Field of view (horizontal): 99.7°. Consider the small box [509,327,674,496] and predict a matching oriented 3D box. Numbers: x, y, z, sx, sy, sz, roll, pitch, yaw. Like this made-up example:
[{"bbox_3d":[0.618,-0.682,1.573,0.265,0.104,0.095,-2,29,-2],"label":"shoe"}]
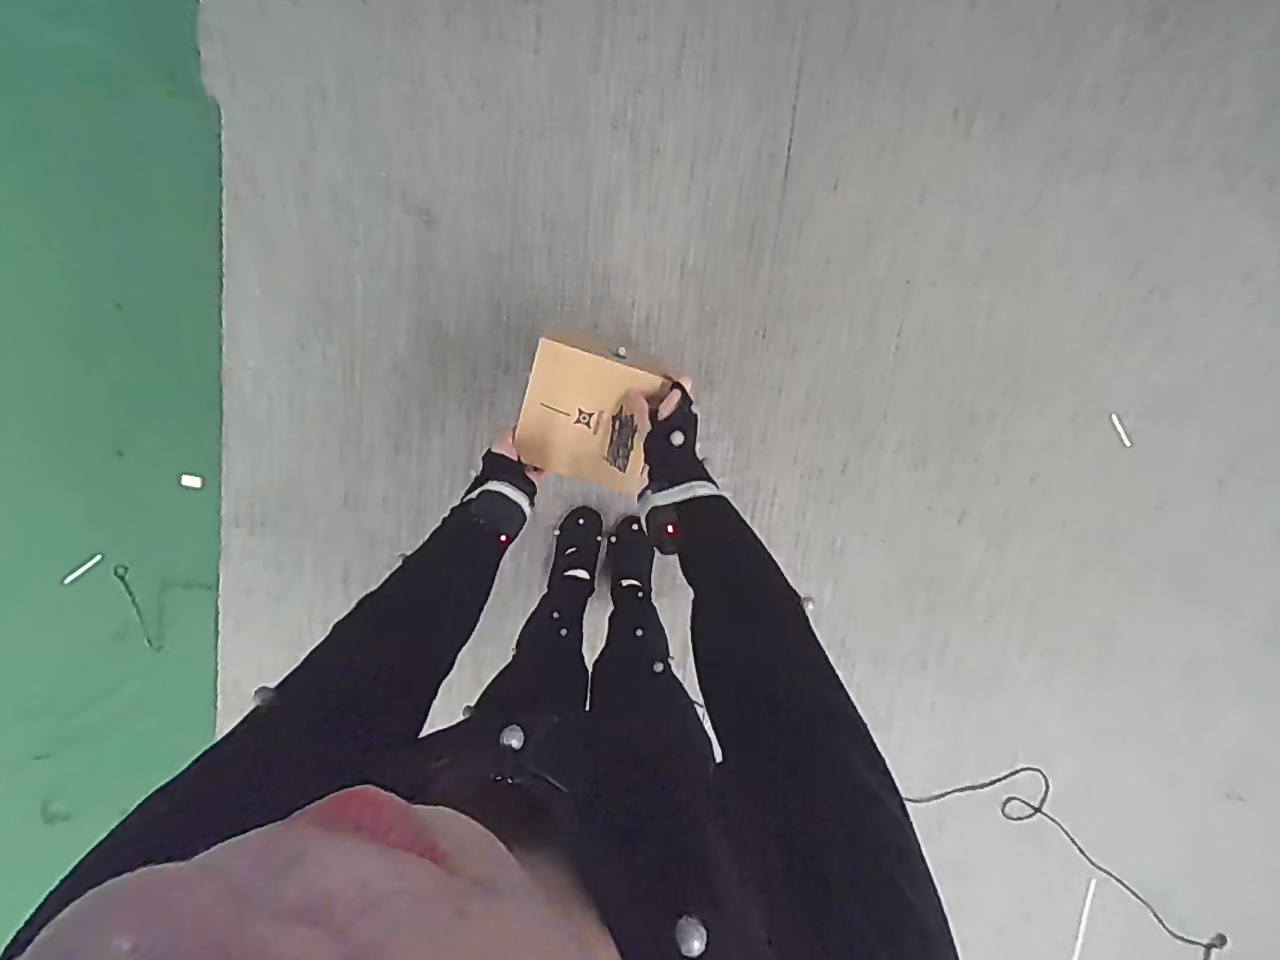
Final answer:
[{"bbox_3d":[-0.066,-0.104,0.764,0.179,0.176,0.168,18,112,-8],"label":"small box"}]
